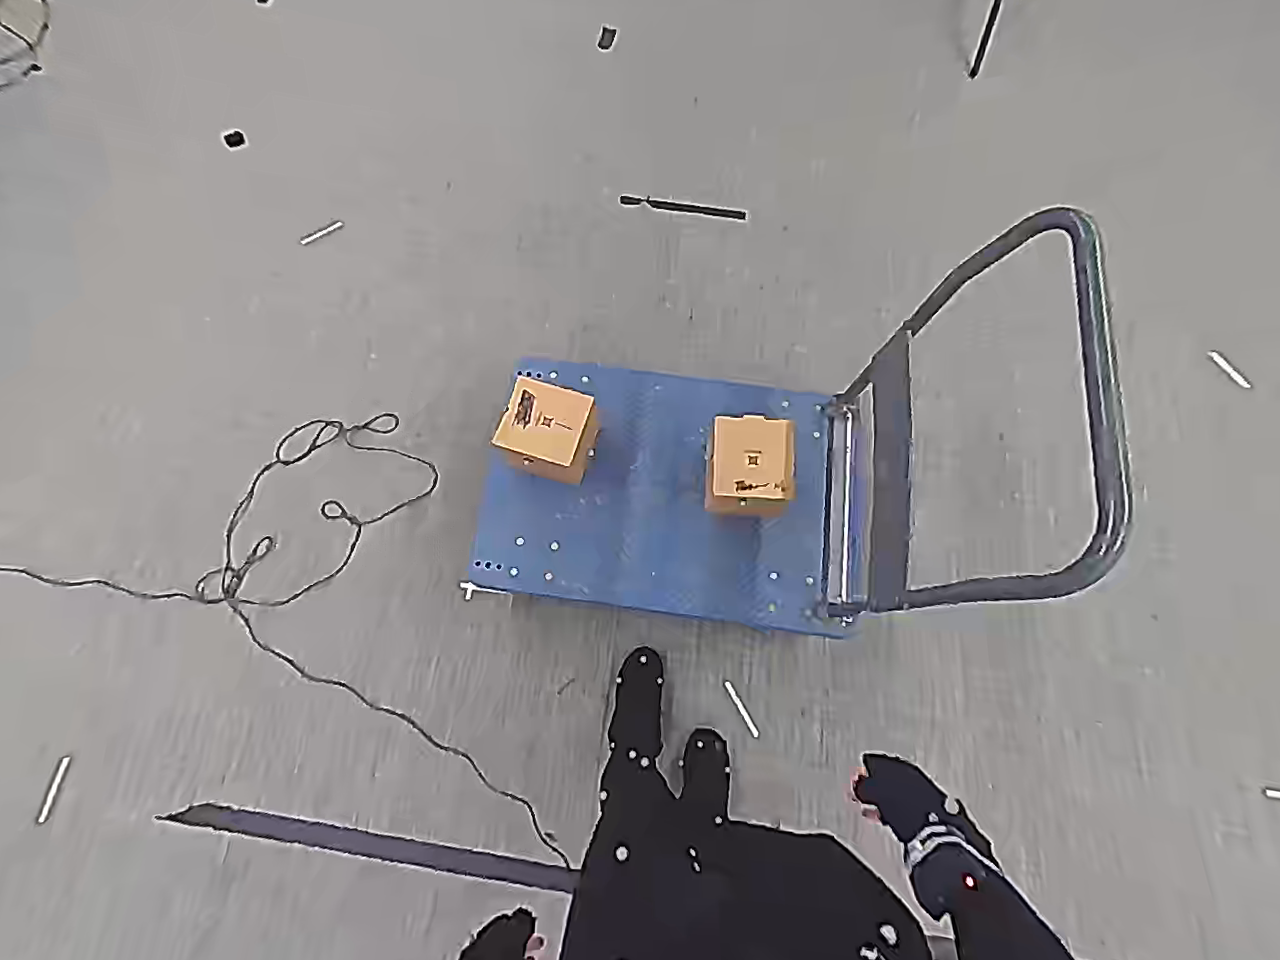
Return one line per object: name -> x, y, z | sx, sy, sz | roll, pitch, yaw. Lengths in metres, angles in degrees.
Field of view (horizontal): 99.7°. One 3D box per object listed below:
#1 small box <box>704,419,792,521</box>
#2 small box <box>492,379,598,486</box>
small box -> 0.232, -0.018, 1.194 | 0.168, 0.176, 0.179 | 4, 73, 2
small box -> -0.205, -0.099, 1.220 | 0.179, 0.176, 0.168 | 17, 75, 4
